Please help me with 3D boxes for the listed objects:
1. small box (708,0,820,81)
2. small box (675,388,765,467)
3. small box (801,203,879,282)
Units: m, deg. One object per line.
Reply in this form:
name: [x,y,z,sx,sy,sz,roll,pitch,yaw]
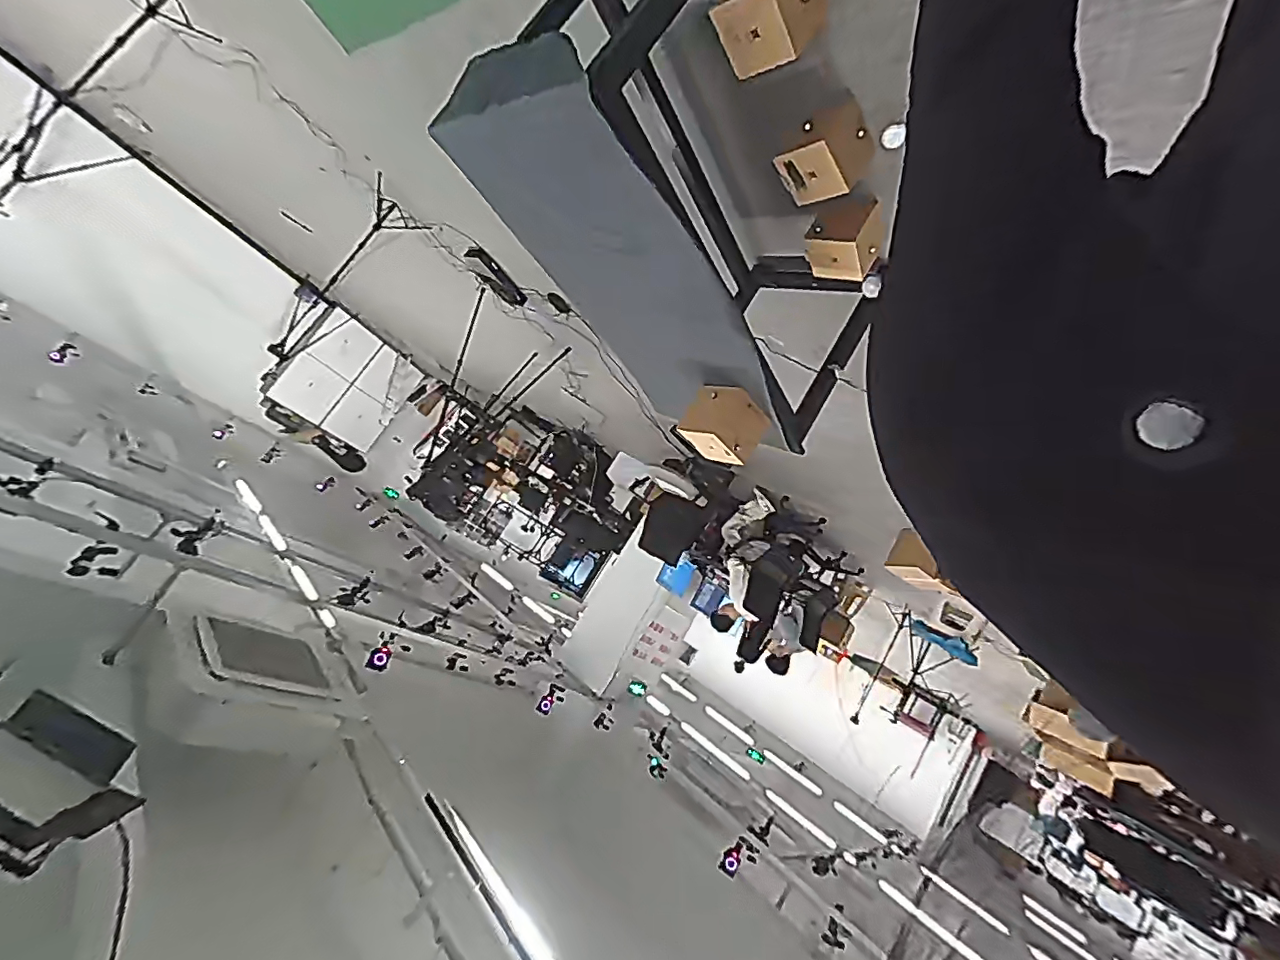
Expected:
small box: [0.296,-1.088,1.257,0.179,0.176,0.168,21,164,46]
small box: [0.245,-0.166,1.639,0.168,0.176,0.179,39,167,-35]
small box: [0.651,-0.767,1.740,0.179,0.176,0.168,25,168,37]
